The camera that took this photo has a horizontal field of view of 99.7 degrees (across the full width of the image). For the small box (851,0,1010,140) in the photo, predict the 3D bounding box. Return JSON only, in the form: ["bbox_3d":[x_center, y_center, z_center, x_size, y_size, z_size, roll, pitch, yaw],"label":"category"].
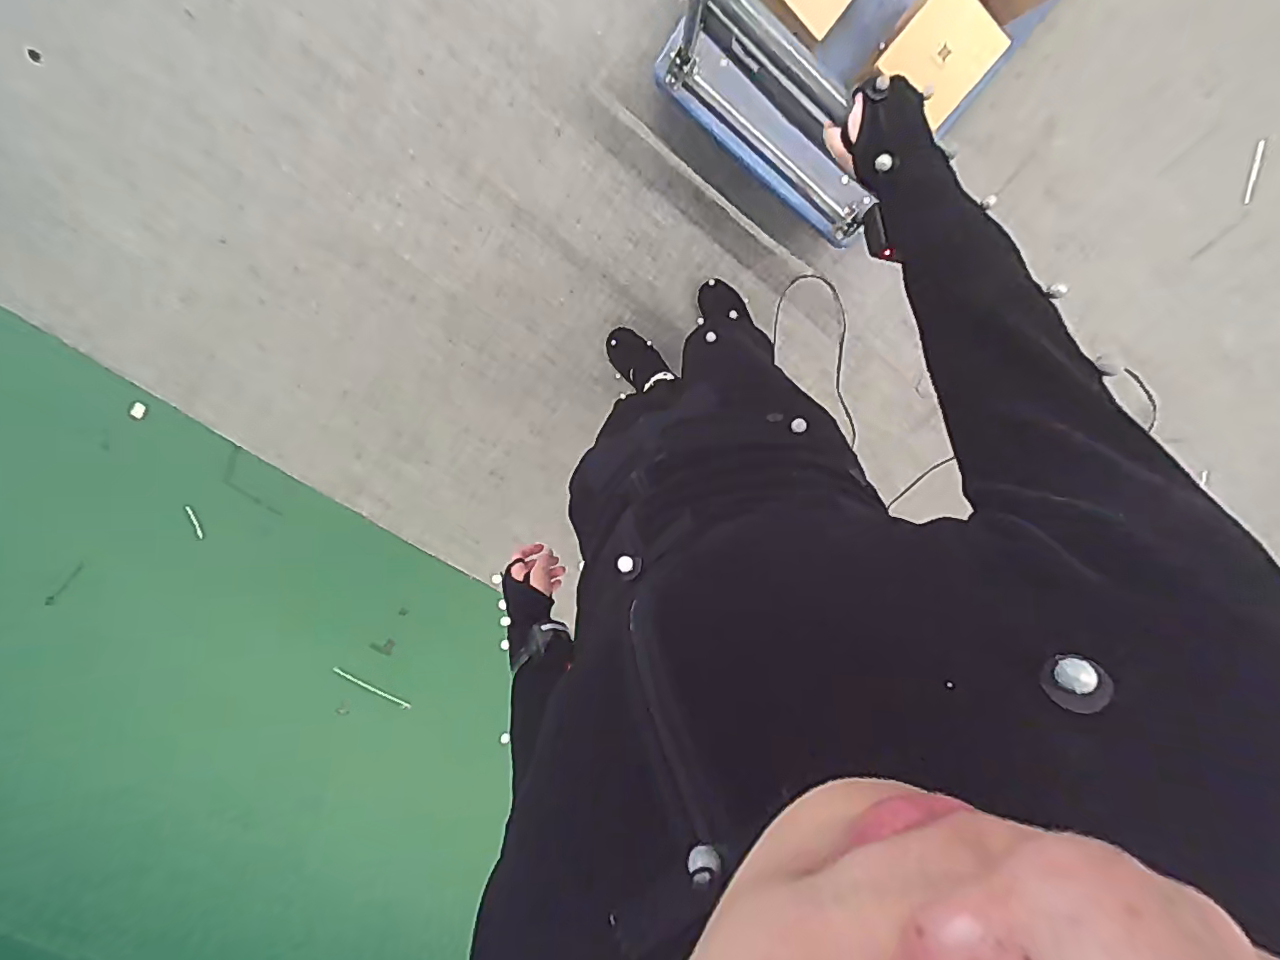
[{"bbox_3d":[0.540,-0.792,1.033,0.168,0.176,0.179,36,111,-15],"label":"small box"}]
